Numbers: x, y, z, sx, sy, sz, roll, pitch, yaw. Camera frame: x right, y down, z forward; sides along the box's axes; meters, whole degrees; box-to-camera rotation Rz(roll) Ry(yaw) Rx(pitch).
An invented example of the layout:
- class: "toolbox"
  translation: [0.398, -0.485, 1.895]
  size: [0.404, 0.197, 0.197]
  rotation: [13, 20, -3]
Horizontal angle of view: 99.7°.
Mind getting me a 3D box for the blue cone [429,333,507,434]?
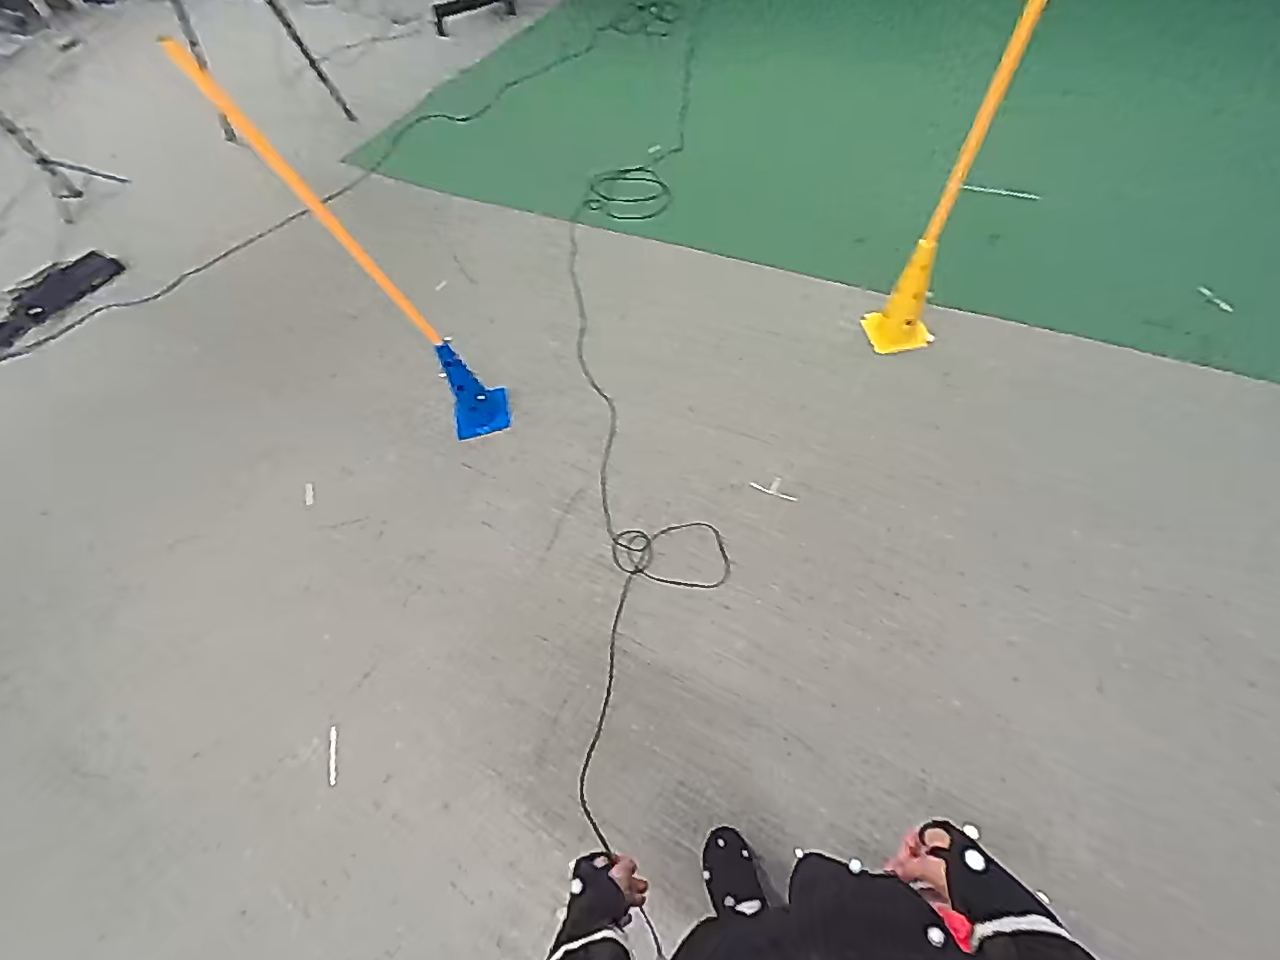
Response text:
- class: "blue cone"
  translation: [-0.598, -0.337, 1.805]
  size: [0.193, 0.380, 0.192]
  rotation: [-18, 59, -1]
